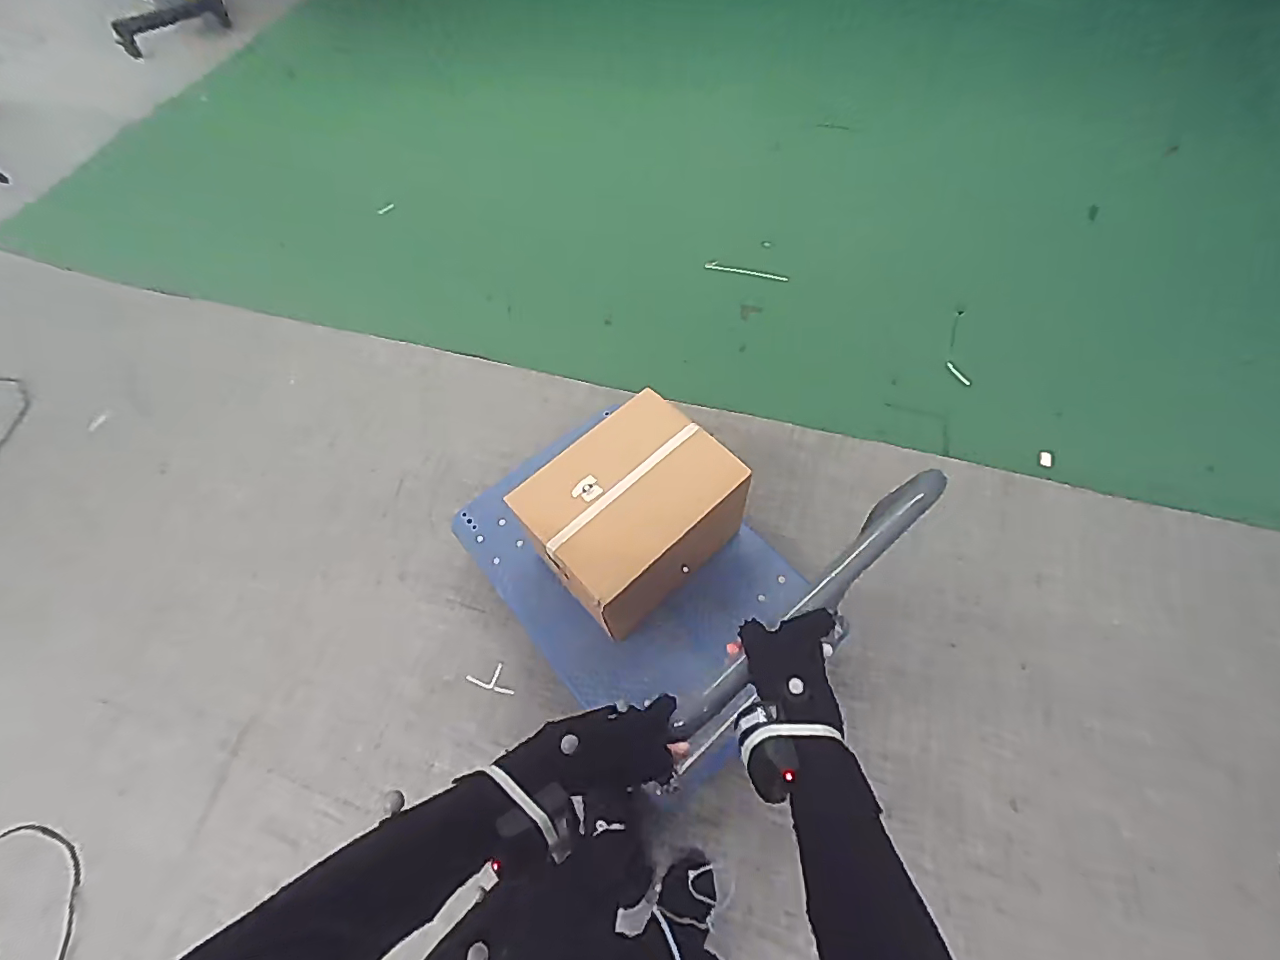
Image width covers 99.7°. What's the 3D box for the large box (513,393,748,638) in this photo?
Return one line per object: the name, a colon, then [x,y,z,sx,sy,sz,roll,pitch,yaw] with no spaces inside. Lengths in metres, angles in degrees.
large box: [-0.008,0.087,1.237,0.408,0.320,0.320,-41,66,-16]
